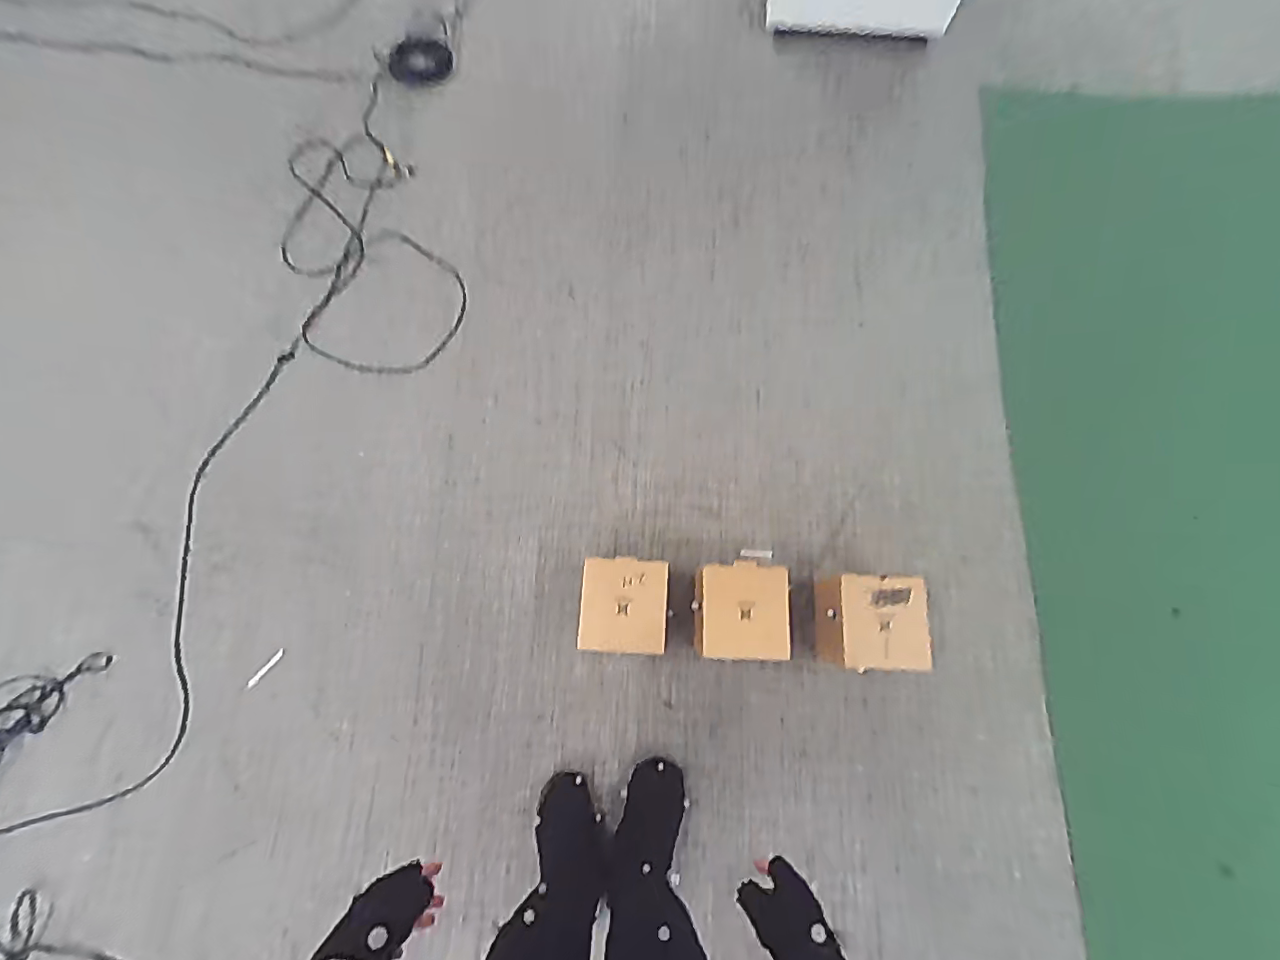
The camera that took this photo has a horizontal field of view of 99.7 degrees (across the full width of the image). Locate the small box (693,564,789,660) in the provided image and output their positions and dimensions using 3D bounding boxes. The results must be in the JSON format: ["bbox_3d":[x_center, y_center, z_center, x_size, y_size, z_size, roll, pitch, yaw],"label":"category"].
[{"bbox_3d":[0.201,0.271,1.110,0.168,0.176,0.179,2,75,-1],"label":"small box"}]

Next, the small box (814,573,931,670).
[{"bbox_3d":[0.464,0.288,1.107,0.168,0.176,0.179,2,76,0],"label":"small box"}]

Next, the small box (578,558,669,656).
[{"bbox_3d":[-0.031,0.259,1.109,0.168,0.176,0.179,3,75,0],"label":"small box"}]
